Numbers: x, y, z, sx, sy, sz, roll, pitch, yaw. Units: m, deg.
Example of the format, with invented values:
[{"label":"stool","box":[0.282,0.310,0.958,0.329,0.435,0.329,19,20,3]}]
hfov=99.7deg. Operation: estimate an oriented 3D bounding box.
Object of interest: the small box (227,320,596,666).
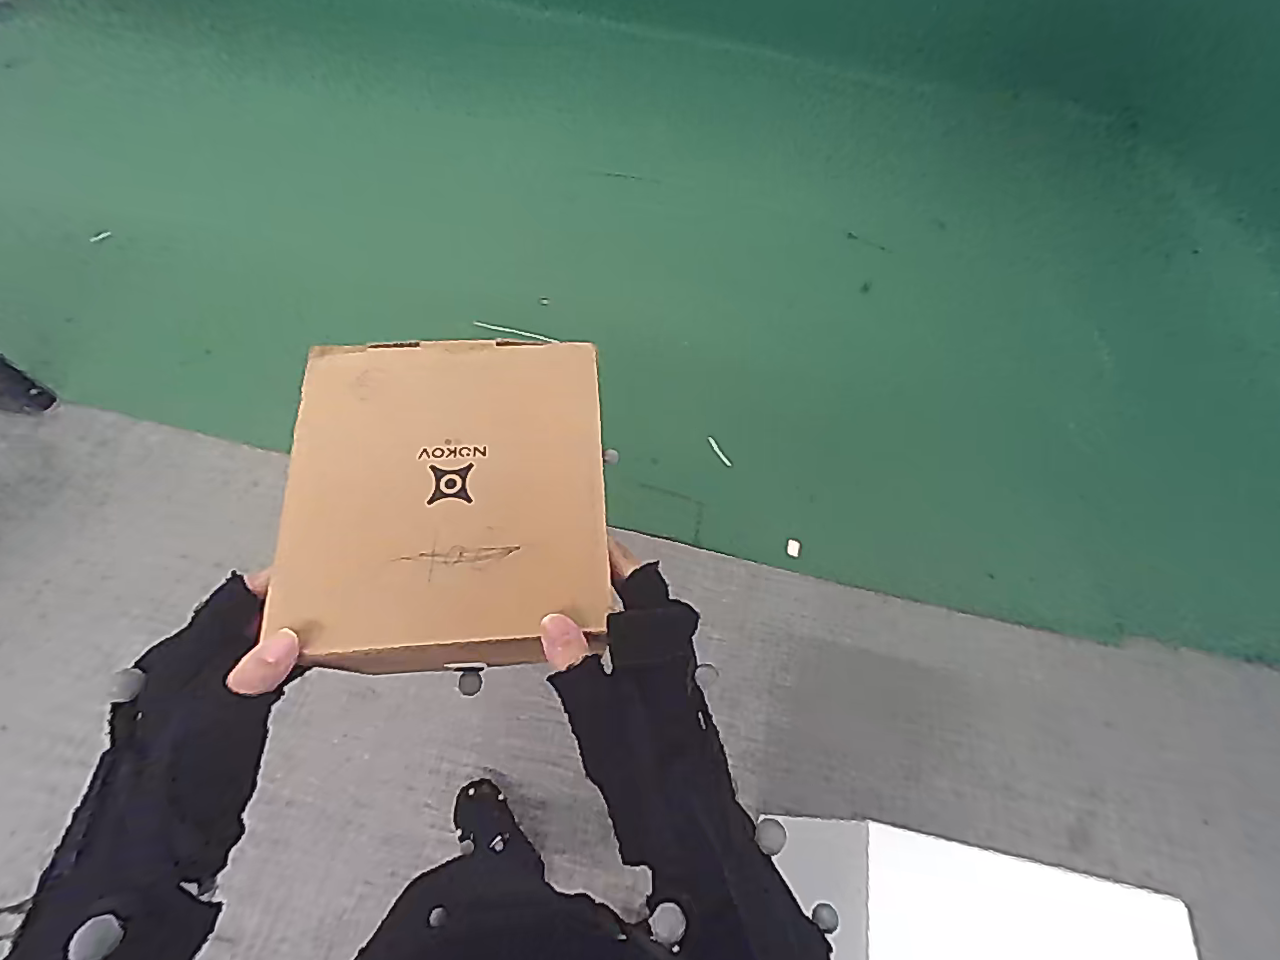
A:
[{"label":"small box","box":[-0.118,0.019,0.353,0.168,0.176,0.179,-3,69,-7]}]
